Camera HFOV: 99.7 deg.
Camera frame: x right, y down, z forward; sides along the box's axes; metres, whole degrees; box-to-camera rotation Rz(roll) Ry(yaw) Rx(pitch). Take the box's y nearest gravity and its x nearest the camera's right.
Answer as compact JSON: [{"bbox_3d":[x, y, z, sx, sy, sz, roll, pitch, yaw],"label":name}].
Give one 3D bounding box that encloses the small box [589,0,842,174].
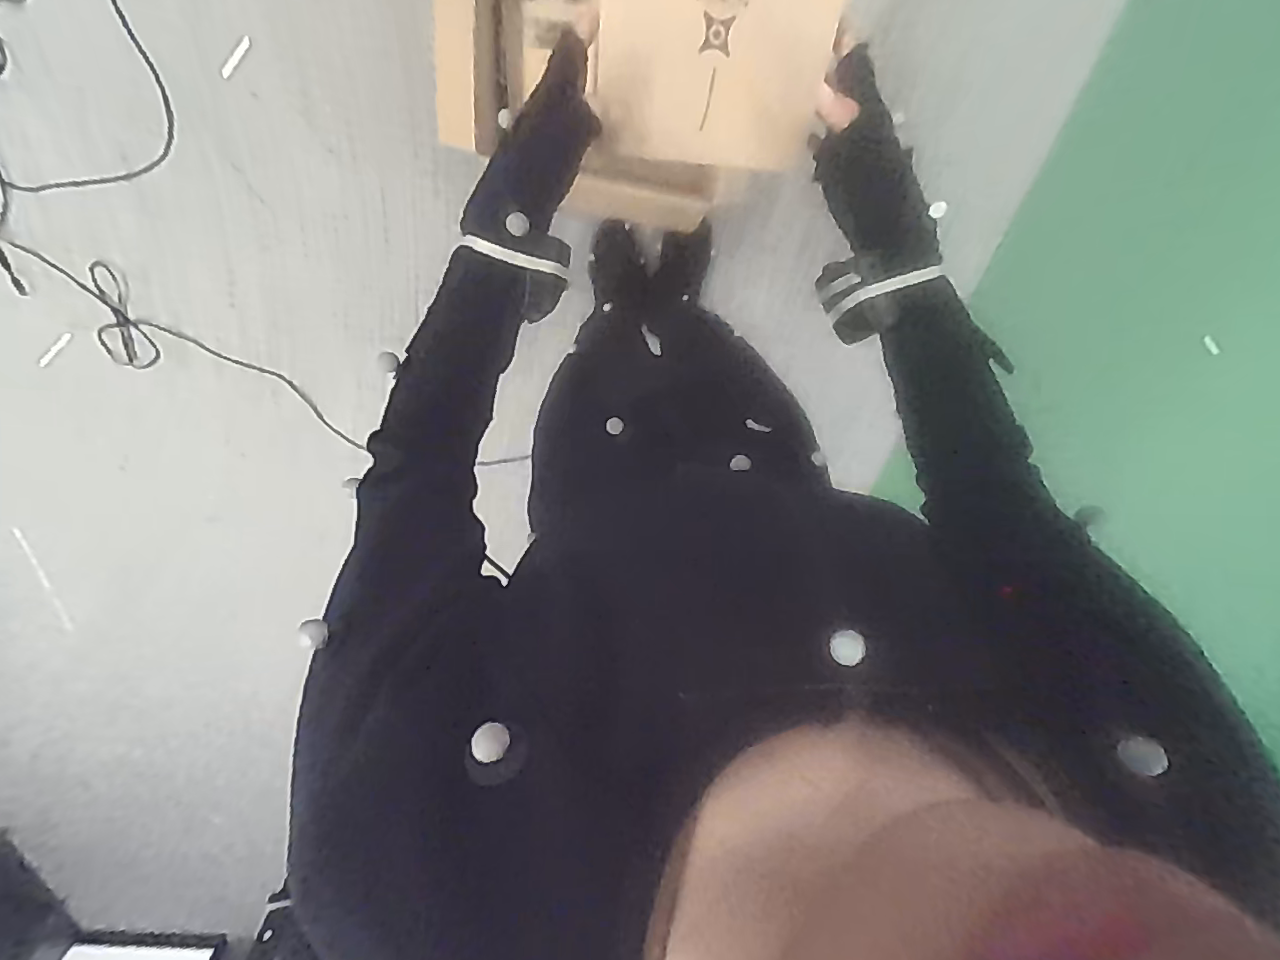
[{"bbox_3d":[0.046,-0.363,0.423,0.168,0.176,0.179,2,130,-6],"label":"small box"}]
